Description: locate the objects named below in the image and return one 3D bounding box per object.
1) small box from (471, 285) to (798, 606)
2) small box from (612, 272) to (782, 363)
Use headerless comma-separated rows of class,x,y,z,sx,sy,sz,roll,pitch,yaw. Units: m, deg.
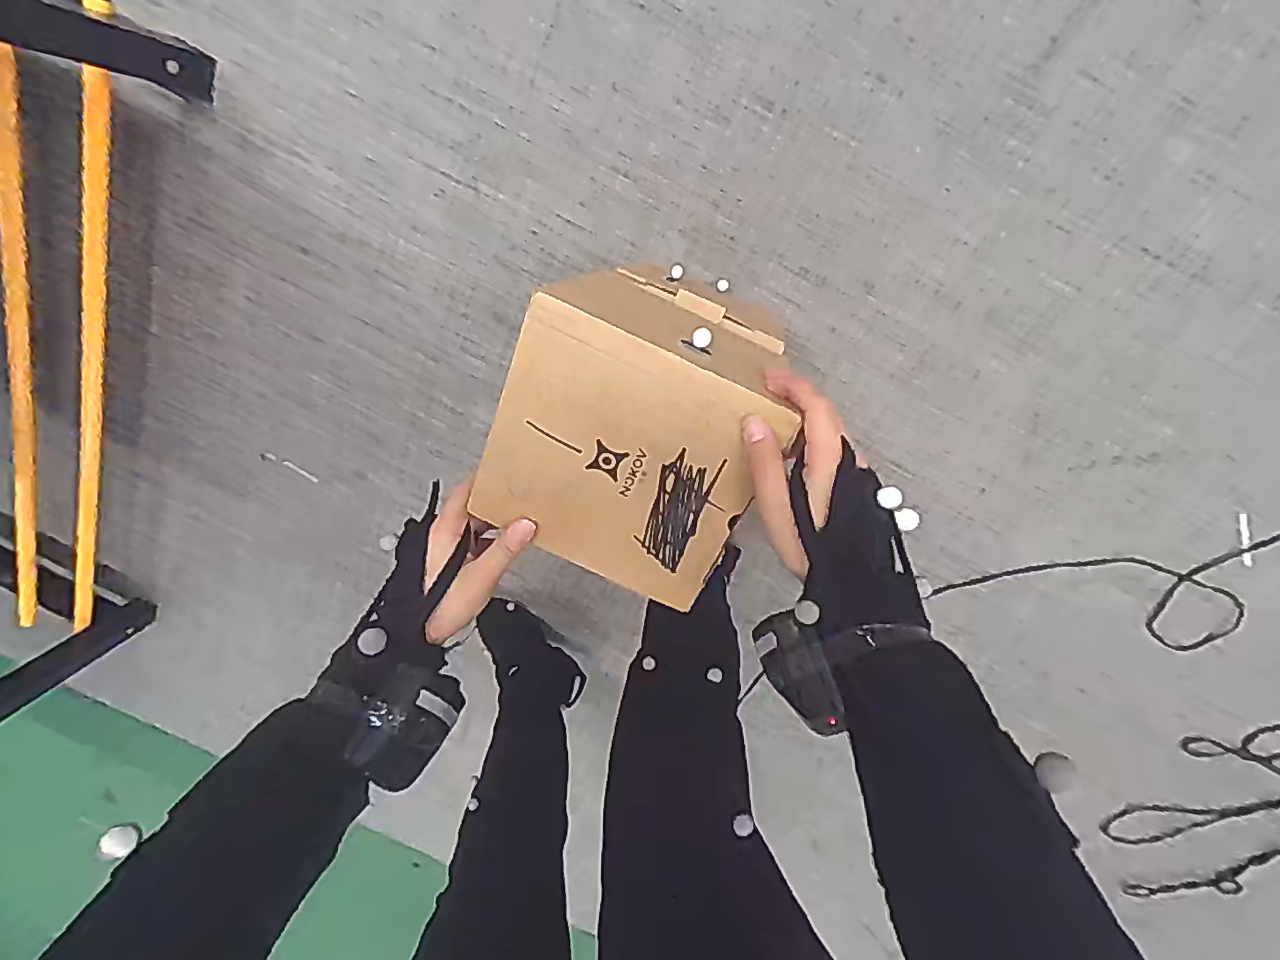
small box,0.001,-0.041,0.427,0.179,0.176,0.168,25,116,-1
small box,0.034,-0.110,0.583,0.168,0.176,0.179,24,115,1
